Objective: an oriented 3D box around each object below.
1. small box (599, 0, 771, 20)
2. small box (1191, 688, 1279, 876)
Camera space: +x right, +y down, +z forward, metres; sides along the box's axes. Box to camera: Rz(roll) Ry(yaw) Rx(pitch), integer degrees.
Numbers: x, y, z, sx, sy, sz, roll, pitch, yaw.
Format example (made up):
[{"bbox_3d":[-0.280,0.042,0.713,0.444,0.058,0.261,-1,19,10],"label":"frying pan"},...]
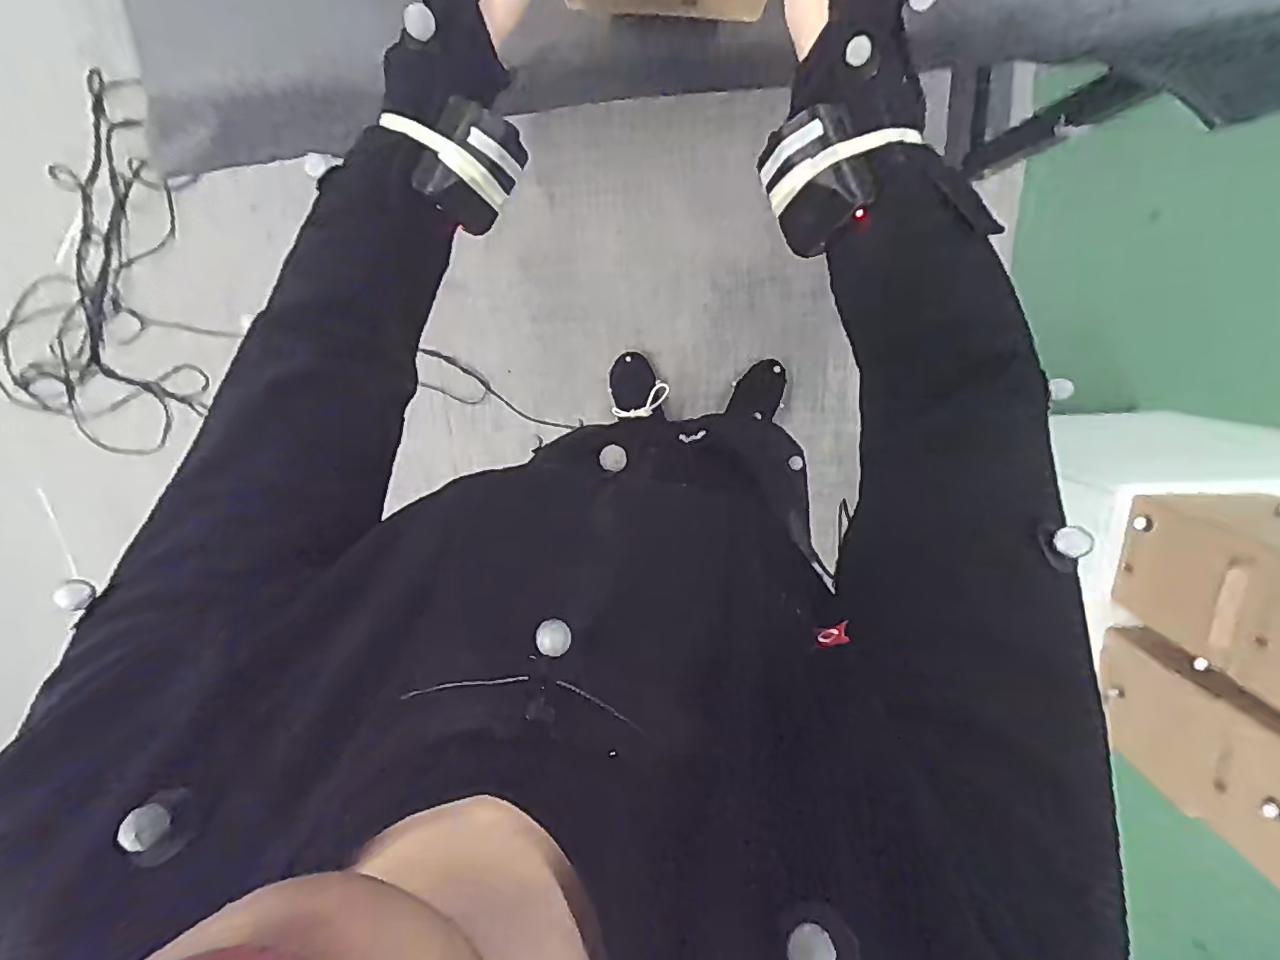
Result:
[{"bbox_3d":[0.030,-0.442,0.354,0.168,0.176,0.179,4,112,0],"label":"small box"},{"bbox_3d":[0.750,0.337,0.567,0.179,0.176,0.168,-6,105,4],"label":"small box"}]
